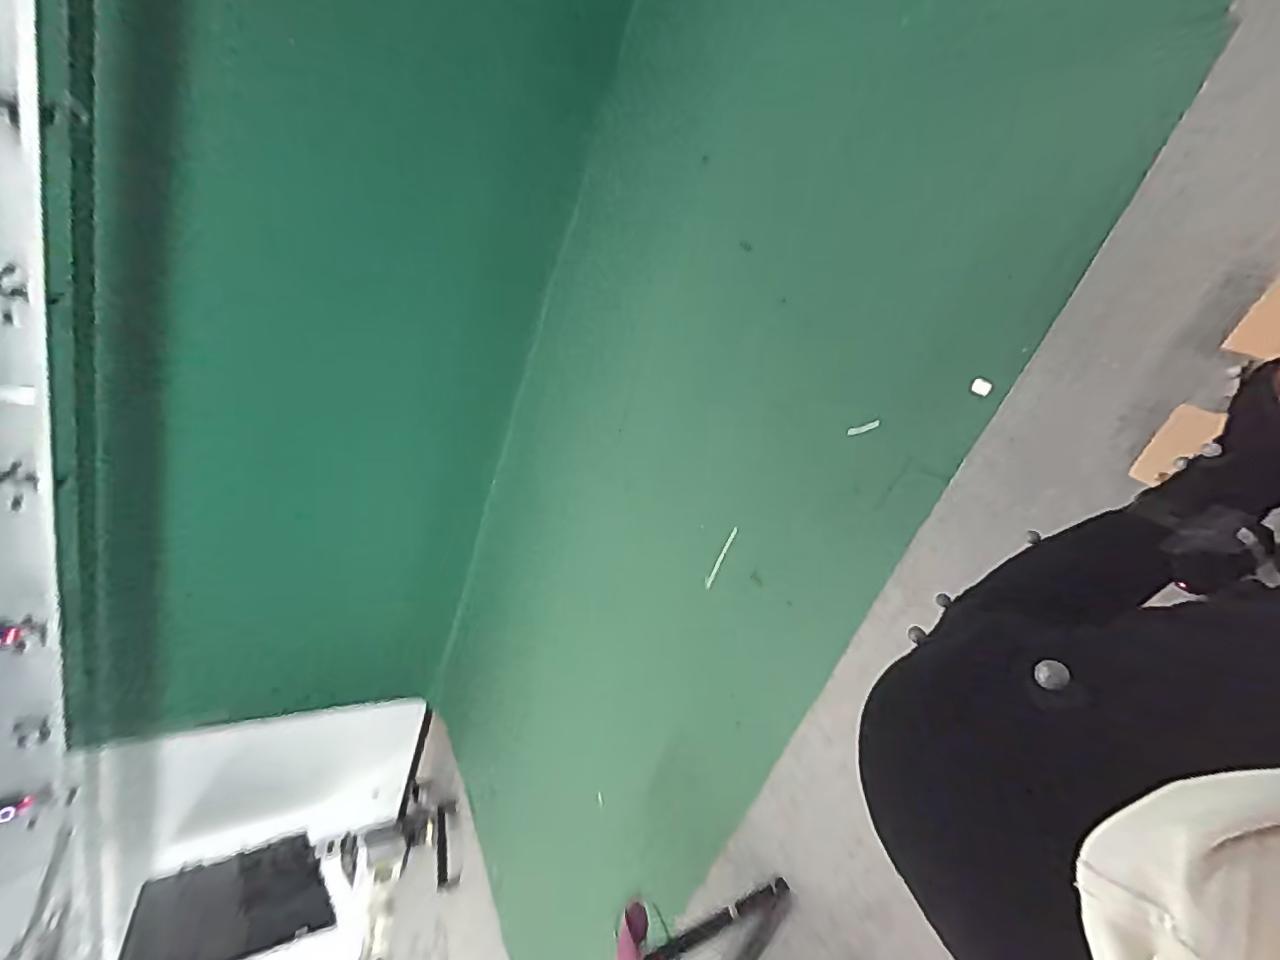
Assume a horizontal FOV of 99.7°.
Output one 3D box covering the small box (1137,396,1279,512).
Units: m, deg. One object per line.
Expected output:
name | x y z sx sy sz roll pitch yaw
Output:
small box | 1.196 -0.050 1.118 0.168 0.176 0.179 47 121 47
